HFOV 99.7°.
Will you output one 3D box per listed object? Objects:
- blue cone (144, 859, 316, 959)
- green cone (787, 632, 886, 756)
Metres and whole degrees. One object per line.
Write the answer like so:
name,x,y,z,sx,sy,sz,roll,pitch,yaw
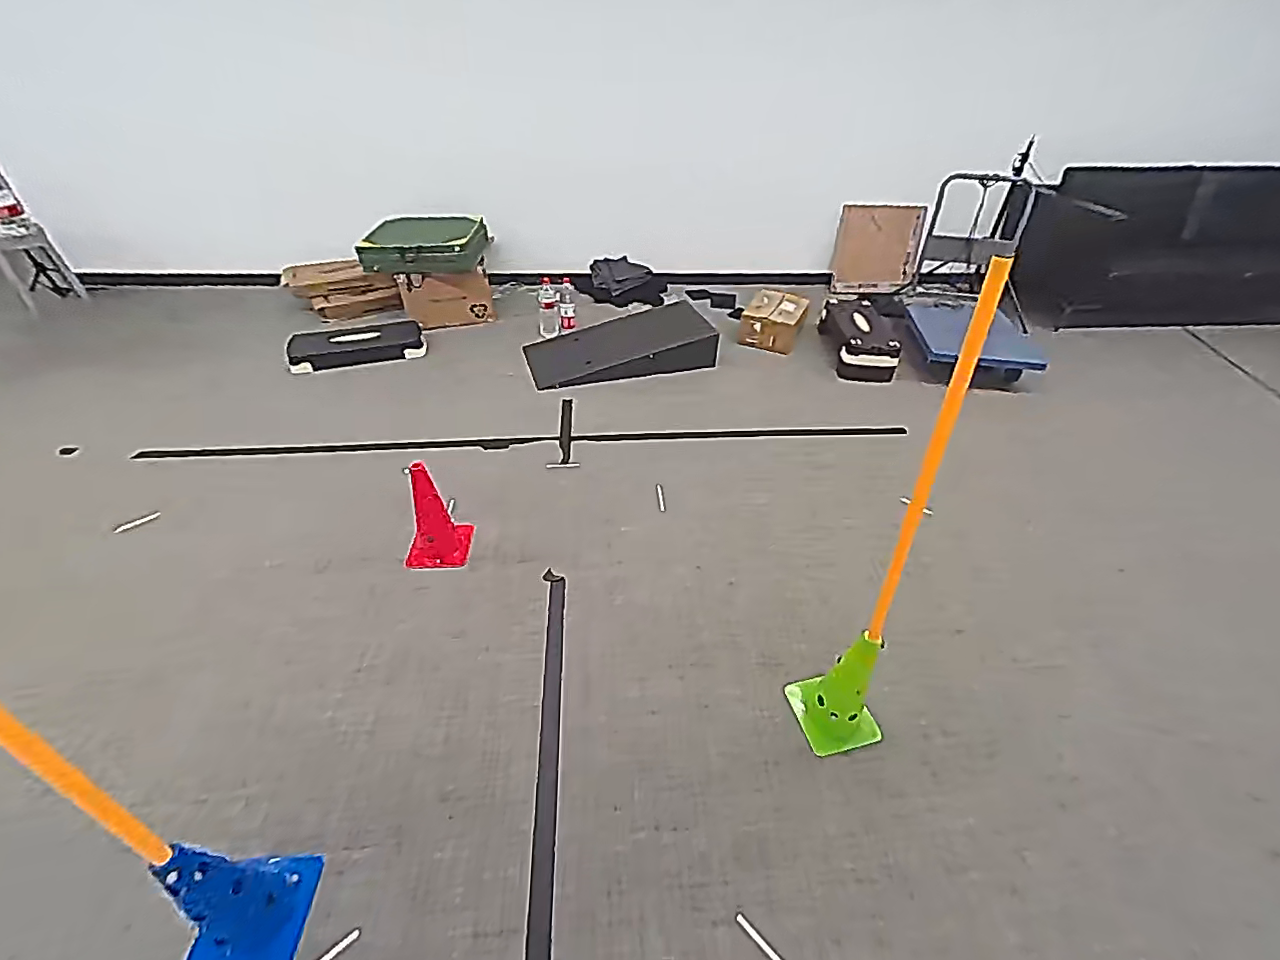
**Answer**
blue cone,-0.765,0.753,0.976,0.193,0.380,0.192,0,40,-2
green cone,0.524,0.493,1.341,0.200,0.368,0.202,-9,42,-13
